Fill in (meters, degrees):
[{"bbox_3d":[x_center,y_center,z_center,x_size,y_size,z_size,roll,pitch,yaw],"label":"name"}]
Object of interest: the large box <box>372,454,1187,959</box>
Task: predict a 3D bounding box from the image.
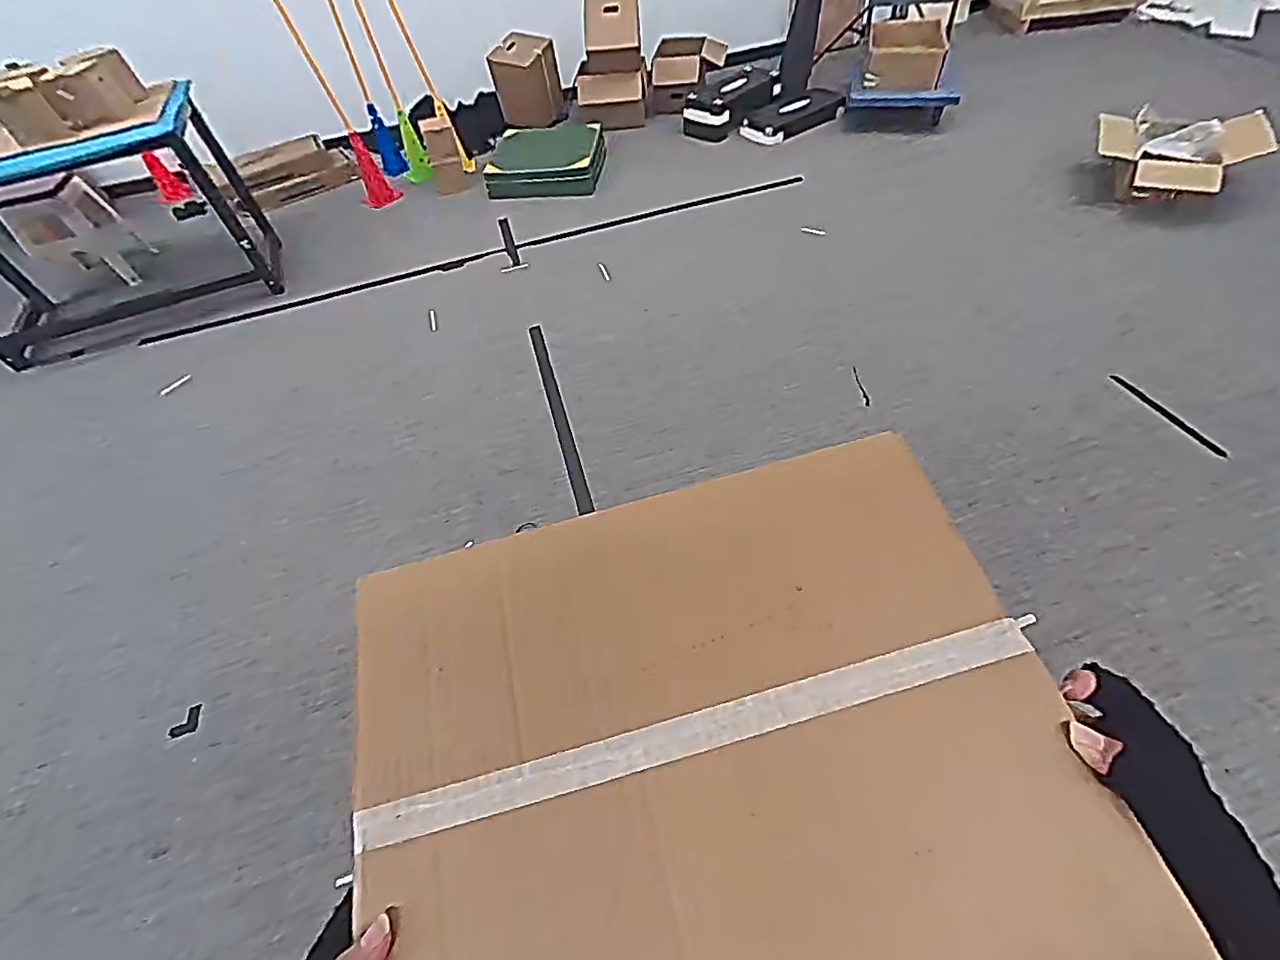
[{"bbox_3d":[0.054,0.231,0.451,0.408,0.320,0.320,-16,60,-2],"label":"large box"}]
